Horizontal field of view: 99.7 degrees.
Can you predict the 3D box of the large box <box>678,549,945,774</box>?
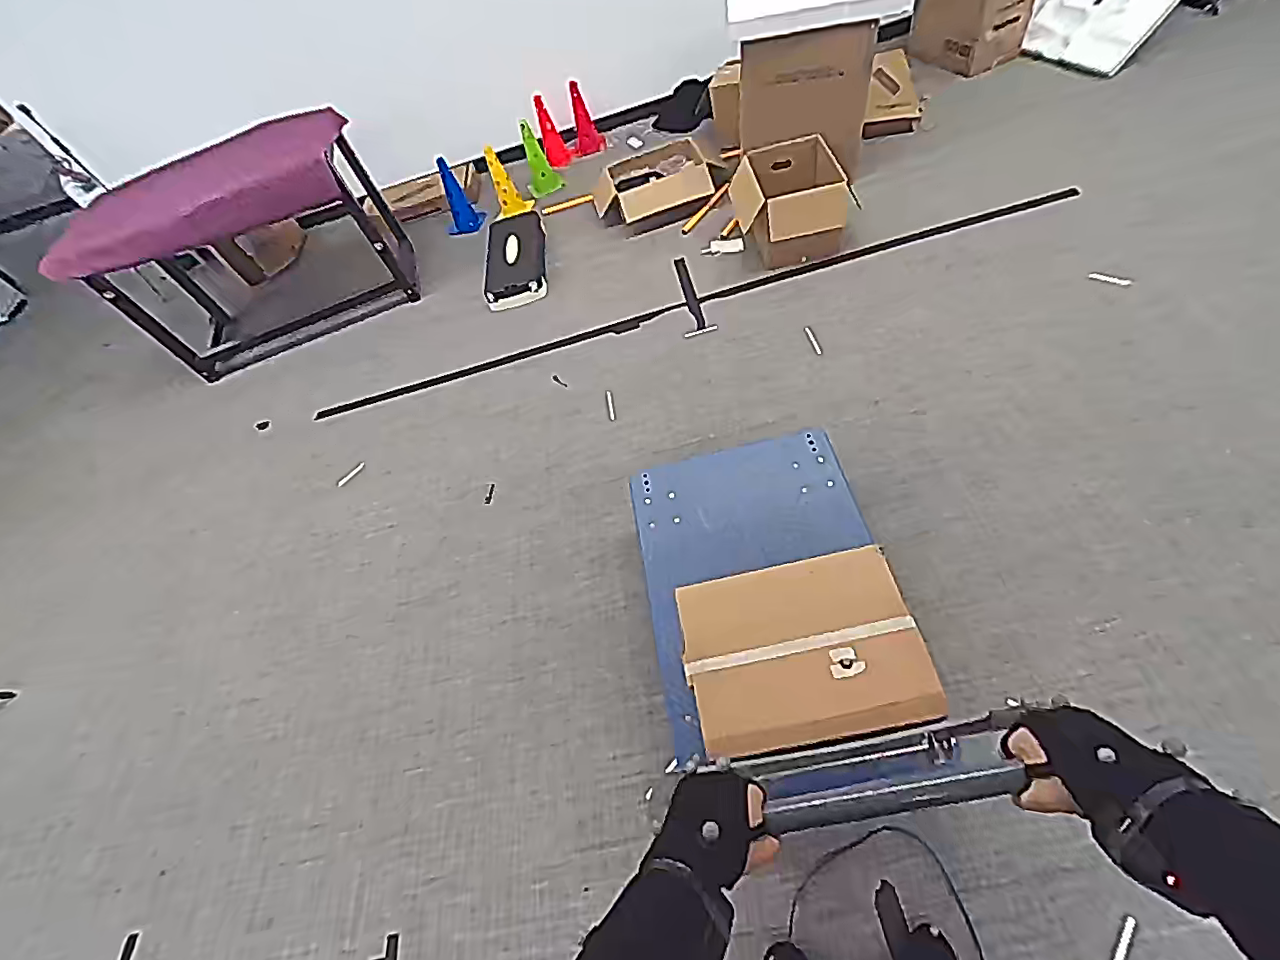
[{"bbox_3d":[0.317,0.385,1.109,0.408,0.320,0.320,-13,57,4],"label":"large box"}]
